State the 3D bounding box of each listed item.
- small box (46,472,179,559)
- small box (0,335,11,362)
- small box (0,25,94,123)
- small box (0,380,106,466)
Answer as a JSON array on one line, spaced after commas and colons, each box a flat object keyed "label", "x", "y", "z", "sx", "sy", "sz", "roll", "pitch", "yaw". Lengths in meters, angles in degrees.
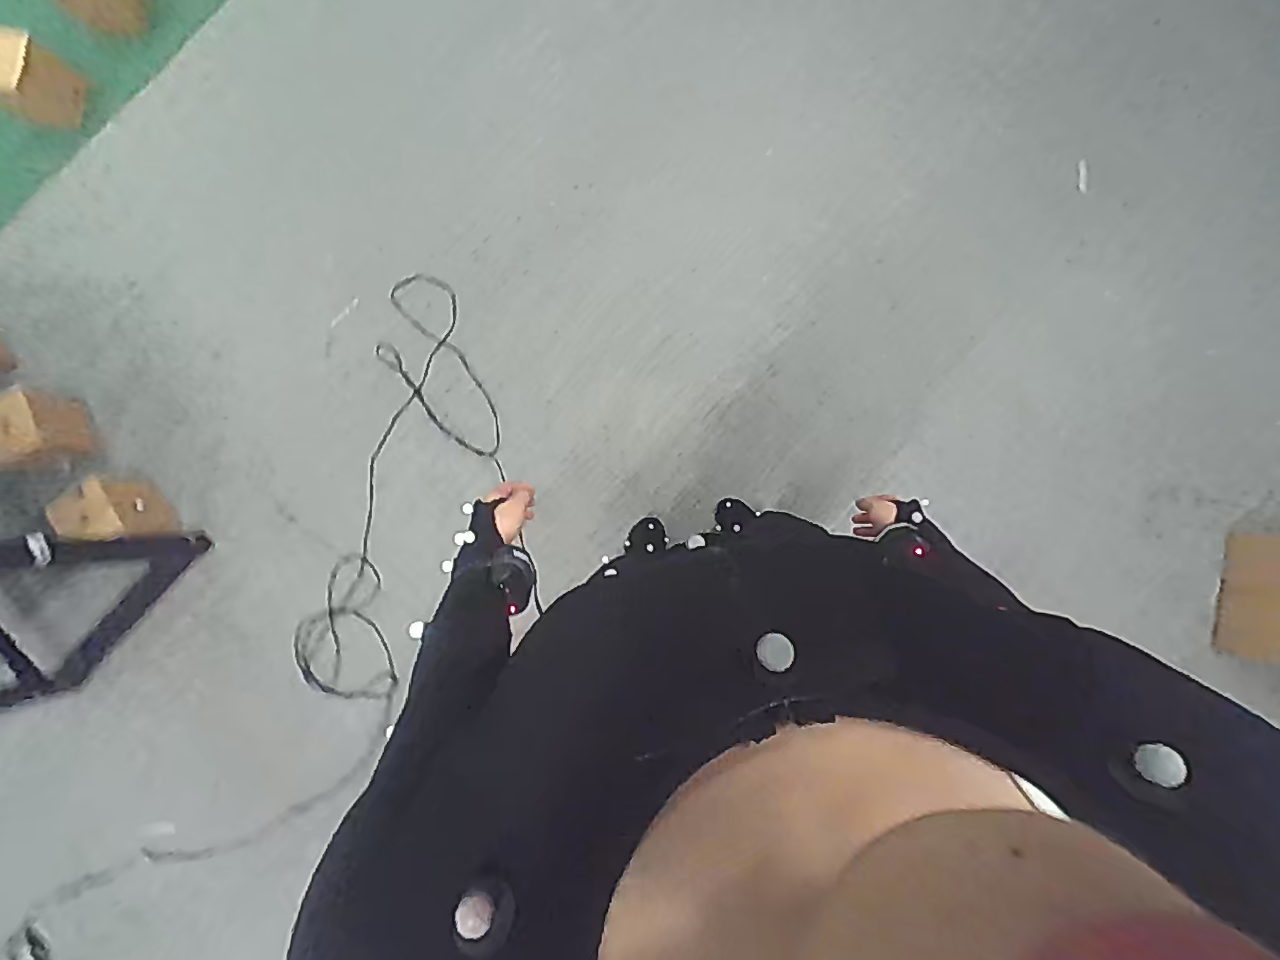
[{"label": "small box", "x": -1.444, "y": 0.095, "z": 1.494, "sx": 0.168, "sy": 0.176, "sz": 0.179, "roll": -34, "pitch": 86, "yaw": 0}, {"label": "small box", "x": -2.003, "y": -0.405, "z": 1.555, "sx": 0.168, "sy": 0.176, "sz": 0.179, "roll": -41, "pitch": 84, "yaw": -1}, {"label": "small box", "x": -1.805, "y": -1.200, "z": 1.607, "sx": 0.179, "sy": 0.176, "sz": 0.168, "roll": 8, "pitch": 86, "yaw": 3}, {"label": "small box", "x": -1.685, "y": -0.153, "z": 1.522, "sx": 0.168, "sy": 0.176, "sz": 0.179, "roll": -26, "pitch": 86, "yaw": 1}]
